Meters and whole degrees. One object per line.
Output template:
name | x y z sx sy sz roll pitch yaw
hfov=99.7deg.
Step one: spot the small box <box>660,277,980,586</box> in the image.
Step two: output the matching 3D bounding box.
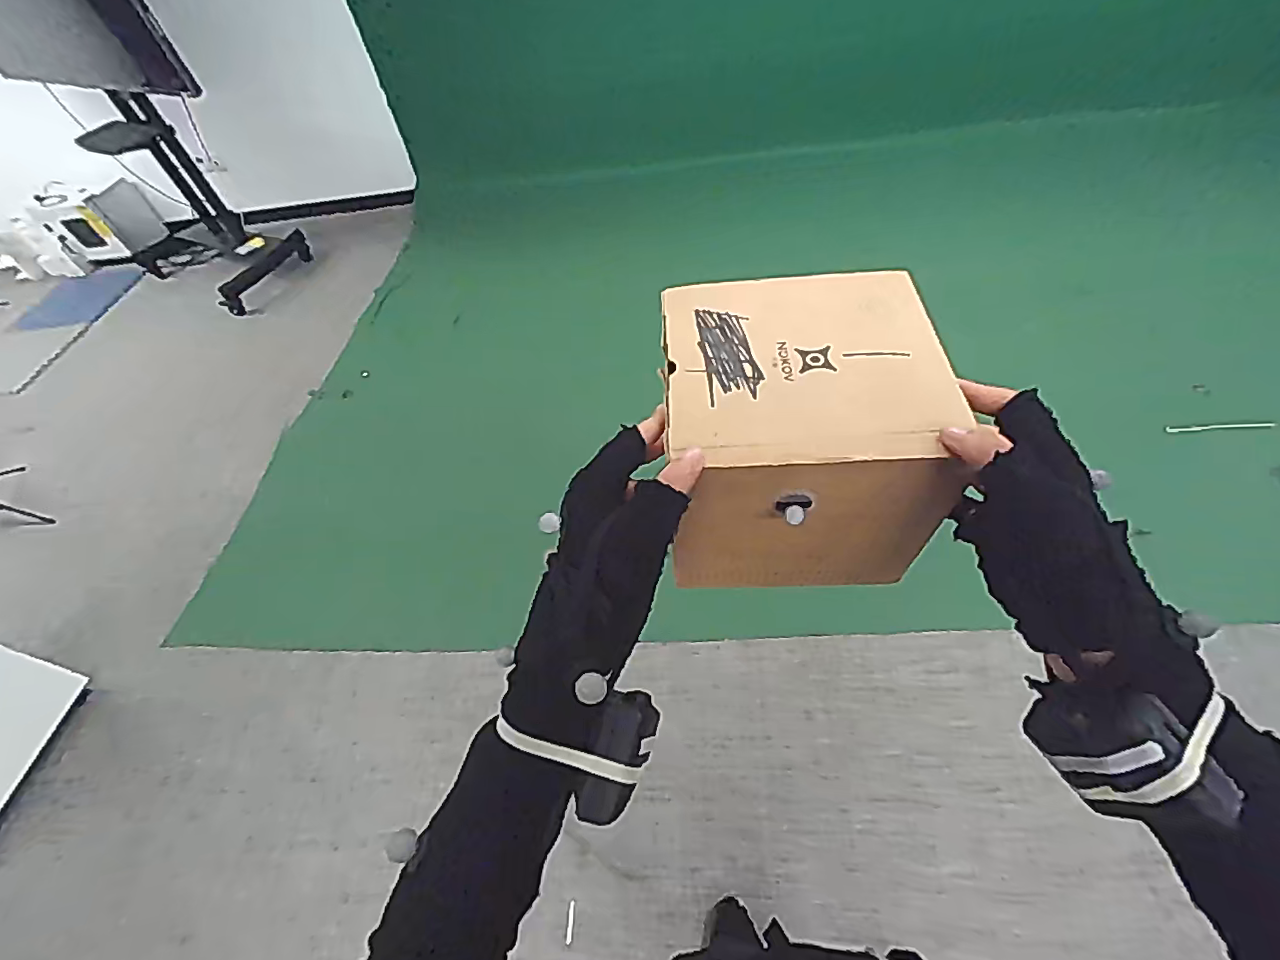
small box | 0.108 -0.028 0.410 0.179 0.176 0.168 -3 55 4
